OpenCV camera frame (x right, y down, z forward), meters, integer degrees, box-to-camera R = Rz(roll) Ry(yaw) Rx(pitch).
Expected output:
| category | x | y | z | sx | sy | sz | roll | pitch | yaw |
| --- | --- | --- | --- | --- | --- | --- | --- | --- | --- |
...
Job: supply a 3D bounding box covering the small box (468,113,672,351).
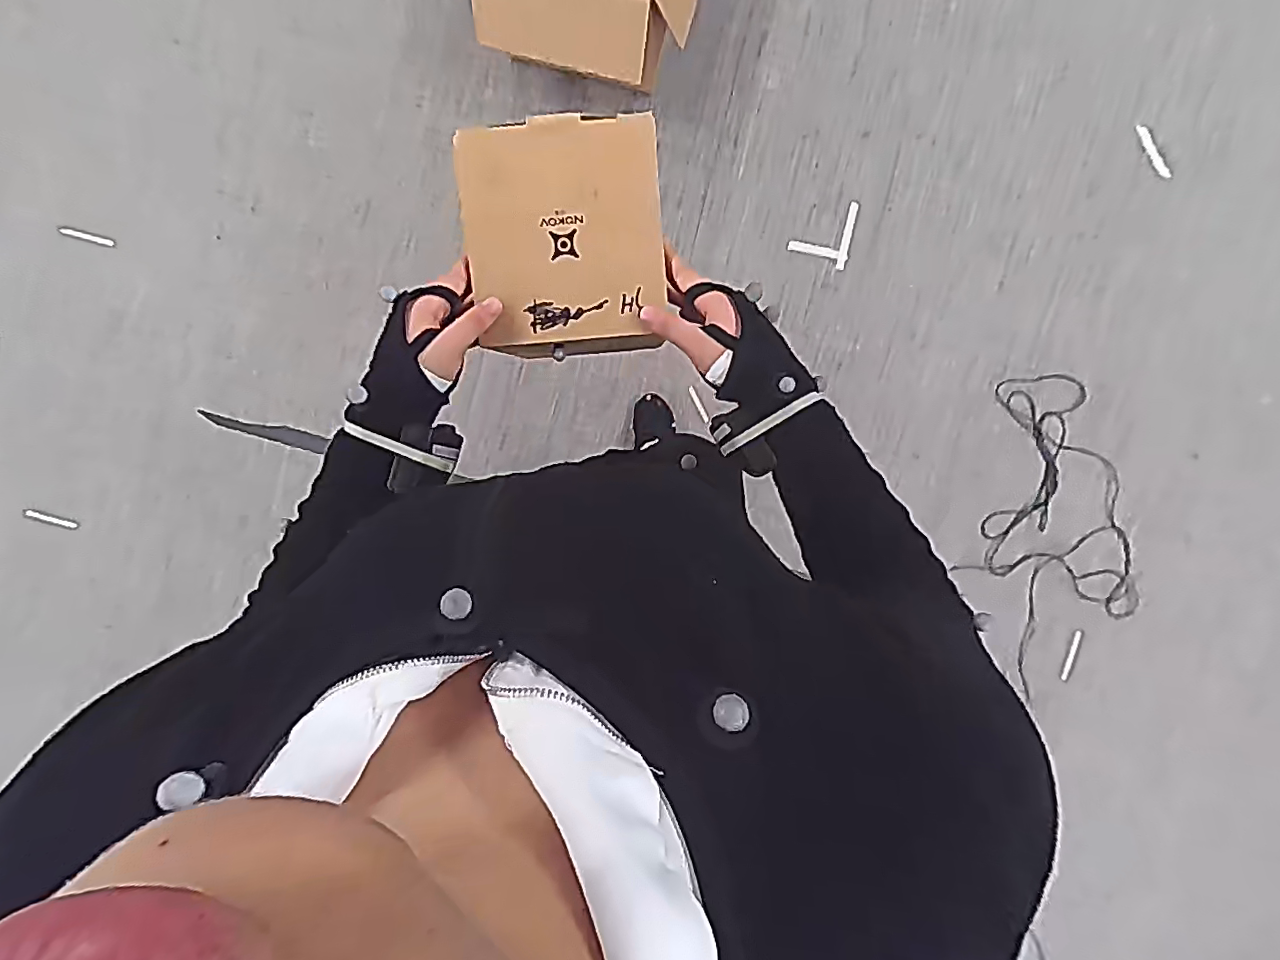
| category | x | y | z | sx | sy | sz | roll | pitch | yaw |
| --- | --- | --- | --- | --- | --- | --- | --- | --- | --- |
| small box | -0.058 | -0.227 | 0.538 | 0.168 | 0.176 | 0.179 | -4 | 101 | 1 |
